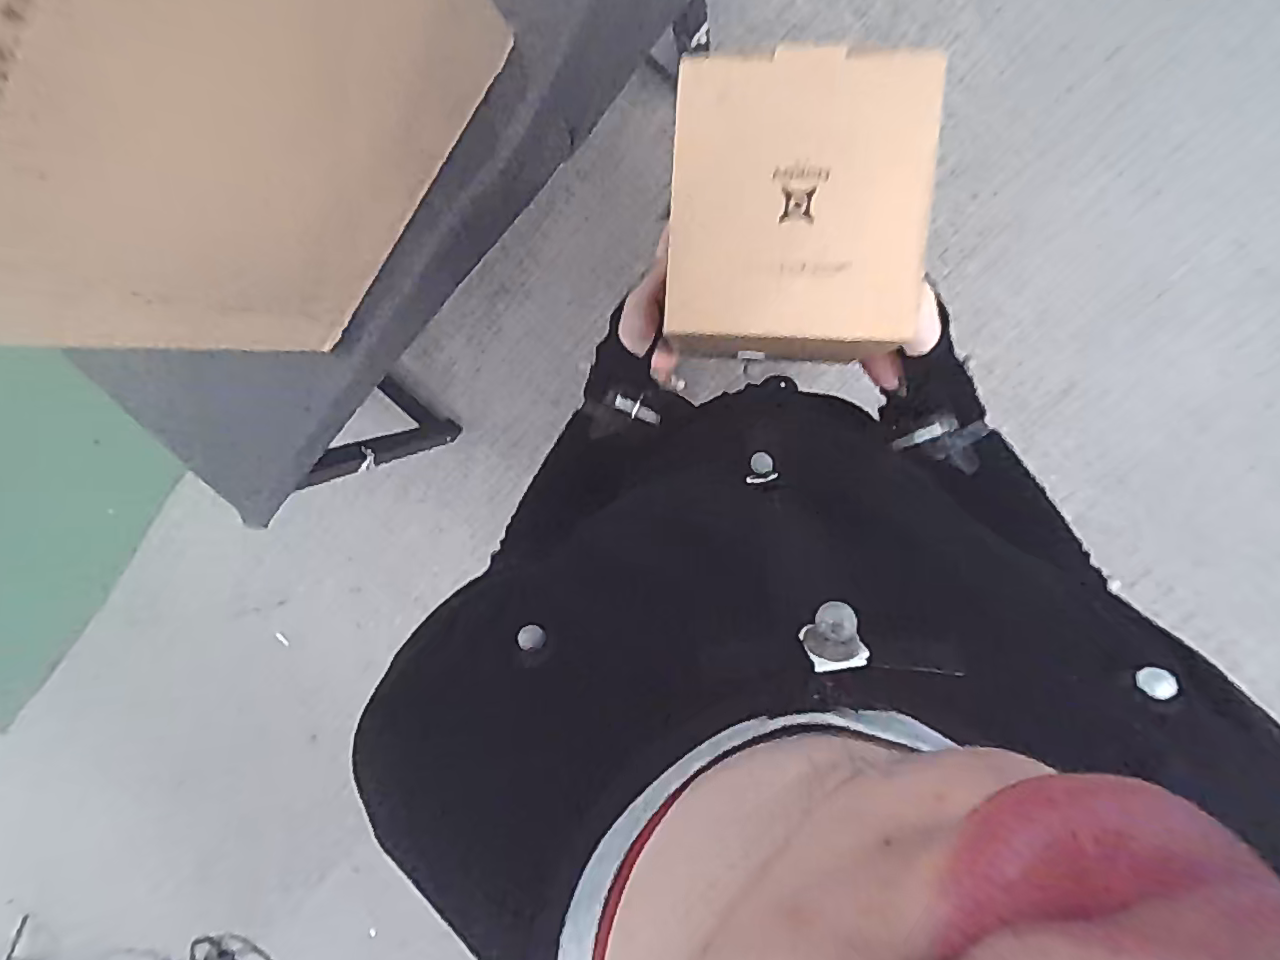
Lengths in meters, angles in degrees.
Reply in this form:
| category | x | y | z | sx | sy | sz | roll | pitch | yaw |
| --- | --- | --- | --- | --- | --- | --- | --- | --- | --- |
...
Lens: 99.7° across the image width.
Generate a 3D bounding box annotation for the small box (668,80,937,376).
| category | x | y | z | sx | sy | sz | roll | pitch | yaw |
| --- | --- | --- | --- | --- | --- | --- | --- | --- | --- |
| small box | 0.113 | -0.182 | 0.440 | 0.168 | 0.176 | 0.179 | 4 | 98 | 6 |
